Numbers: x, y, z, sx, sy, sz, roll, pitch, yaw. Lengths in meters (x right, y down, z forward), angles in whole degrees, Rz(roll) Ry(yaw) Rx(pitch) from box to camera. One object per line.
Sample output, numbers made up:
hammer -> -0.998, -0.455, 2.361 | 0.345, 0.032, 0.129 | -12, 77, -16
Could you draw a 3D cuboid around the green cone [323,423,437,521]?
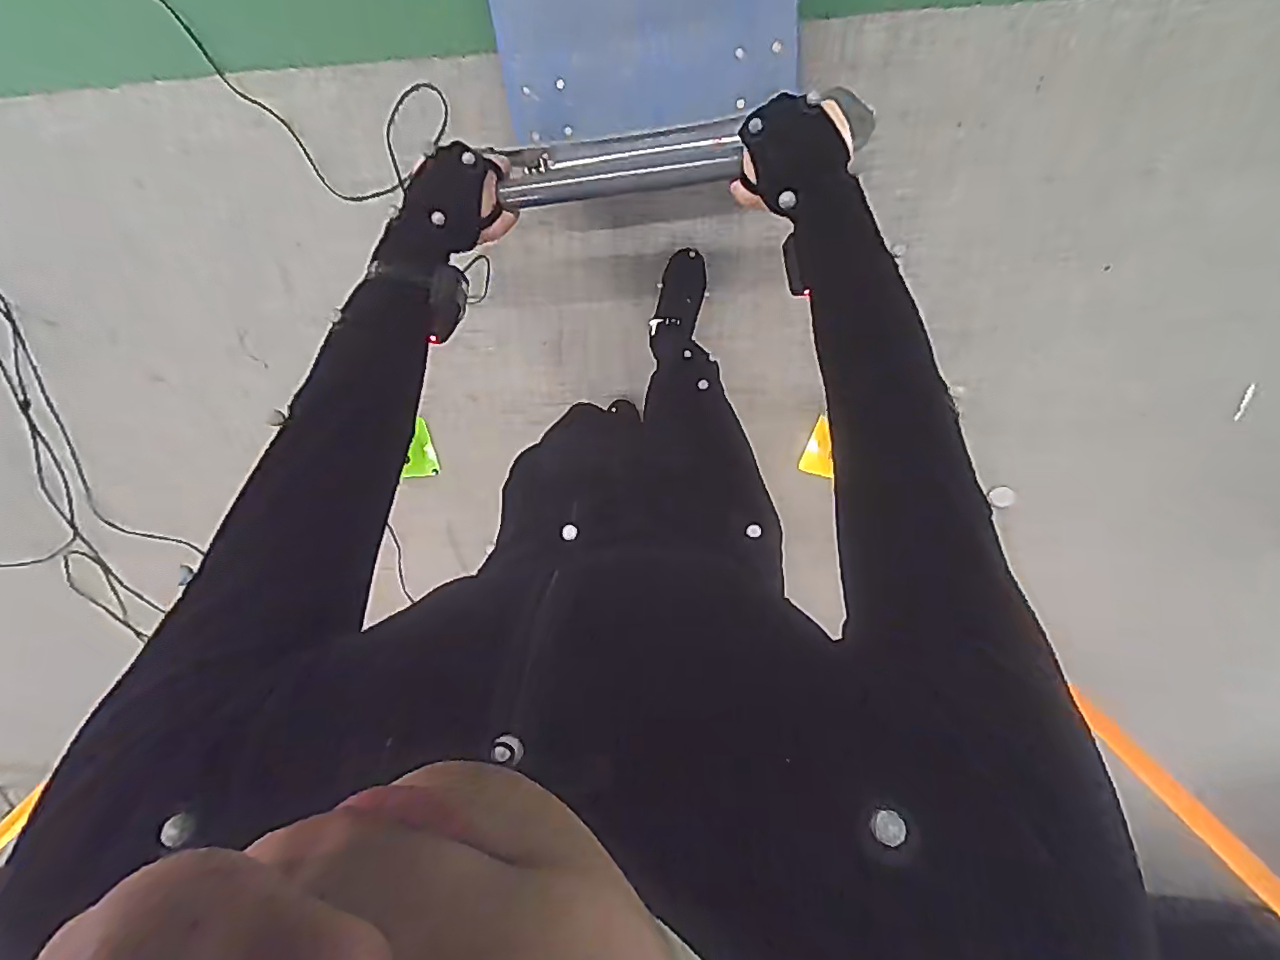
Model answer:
green cone -> -0.757, 0.000, 1.515 | 0.202, 0.368, 0.200 | -4, 117, 8
